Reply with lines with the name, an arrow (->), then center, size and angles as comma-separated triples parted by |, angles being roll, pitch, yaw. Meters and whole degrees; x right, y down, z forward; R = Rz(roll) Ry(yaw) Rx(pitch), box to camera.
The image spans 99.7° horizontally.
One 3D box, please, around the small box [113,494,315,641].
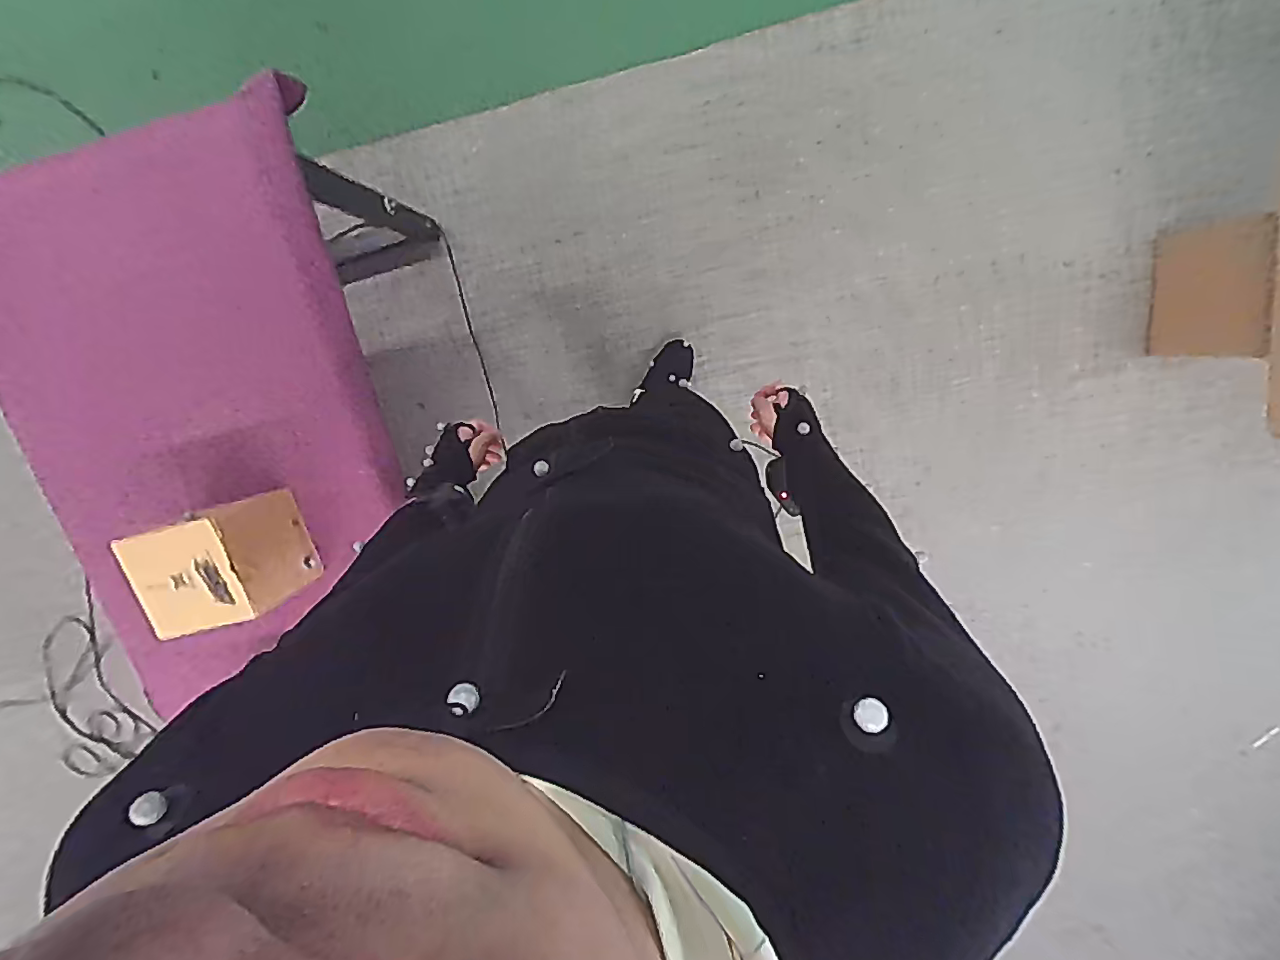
small box -> -0.672, 0.133, 0.883 | 0.179, 0.176, 0.168 | -14, 103, 8
